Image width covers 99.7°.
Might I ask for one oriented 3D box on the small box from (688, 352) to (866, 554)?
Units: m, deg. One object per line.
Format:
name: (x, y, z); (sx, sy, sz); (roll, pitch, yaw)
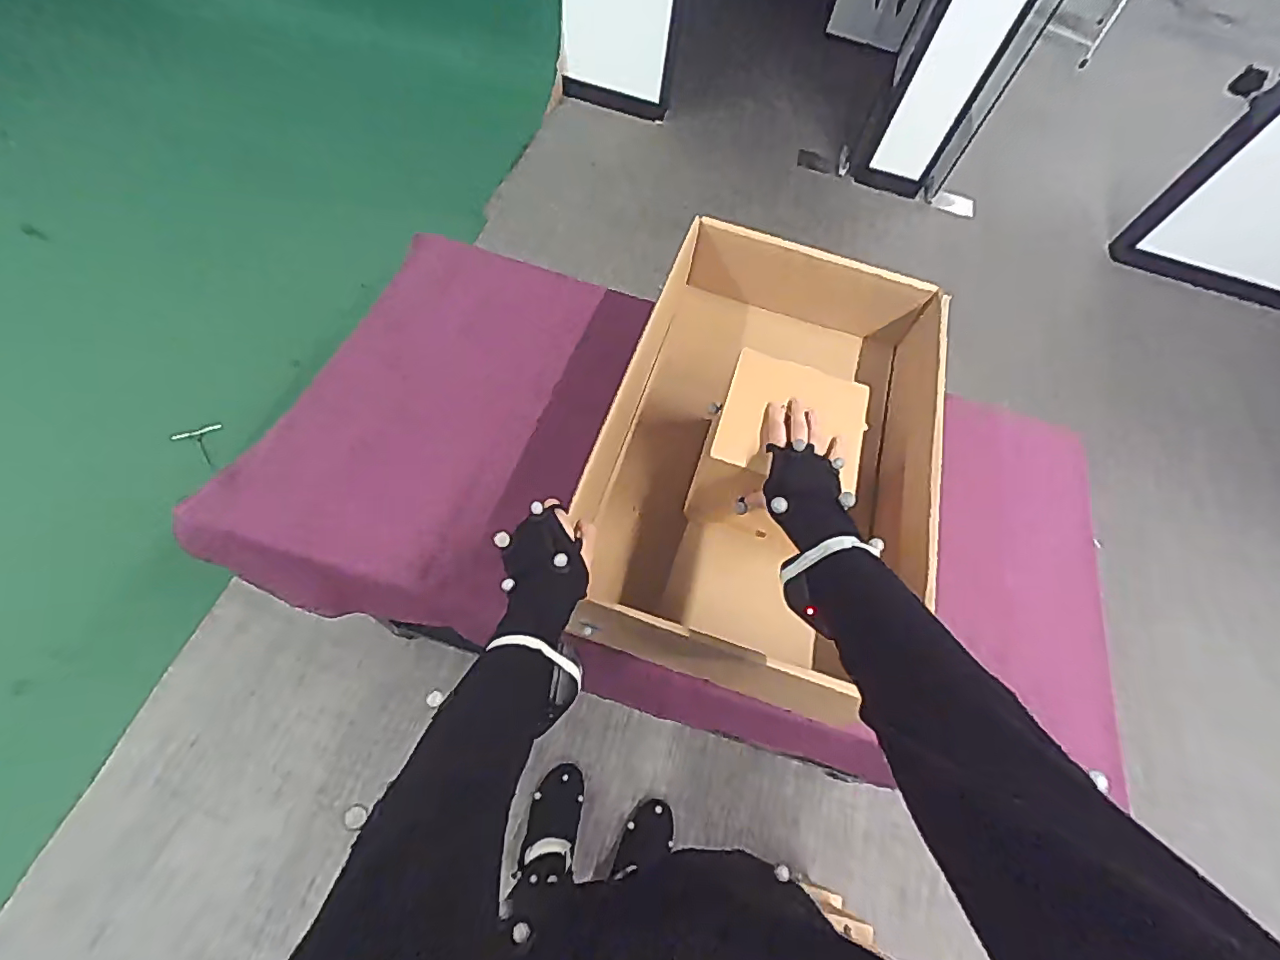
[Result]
small box: (0.168, -0.026, 0.699); (0.168, 0.176, 0.179); (19, 60, 3)

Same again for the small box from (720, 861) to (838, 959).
small box: (0.280, 0.908, 1.106); (0.179, 0.176, 0.168); (16, 62, 2)
